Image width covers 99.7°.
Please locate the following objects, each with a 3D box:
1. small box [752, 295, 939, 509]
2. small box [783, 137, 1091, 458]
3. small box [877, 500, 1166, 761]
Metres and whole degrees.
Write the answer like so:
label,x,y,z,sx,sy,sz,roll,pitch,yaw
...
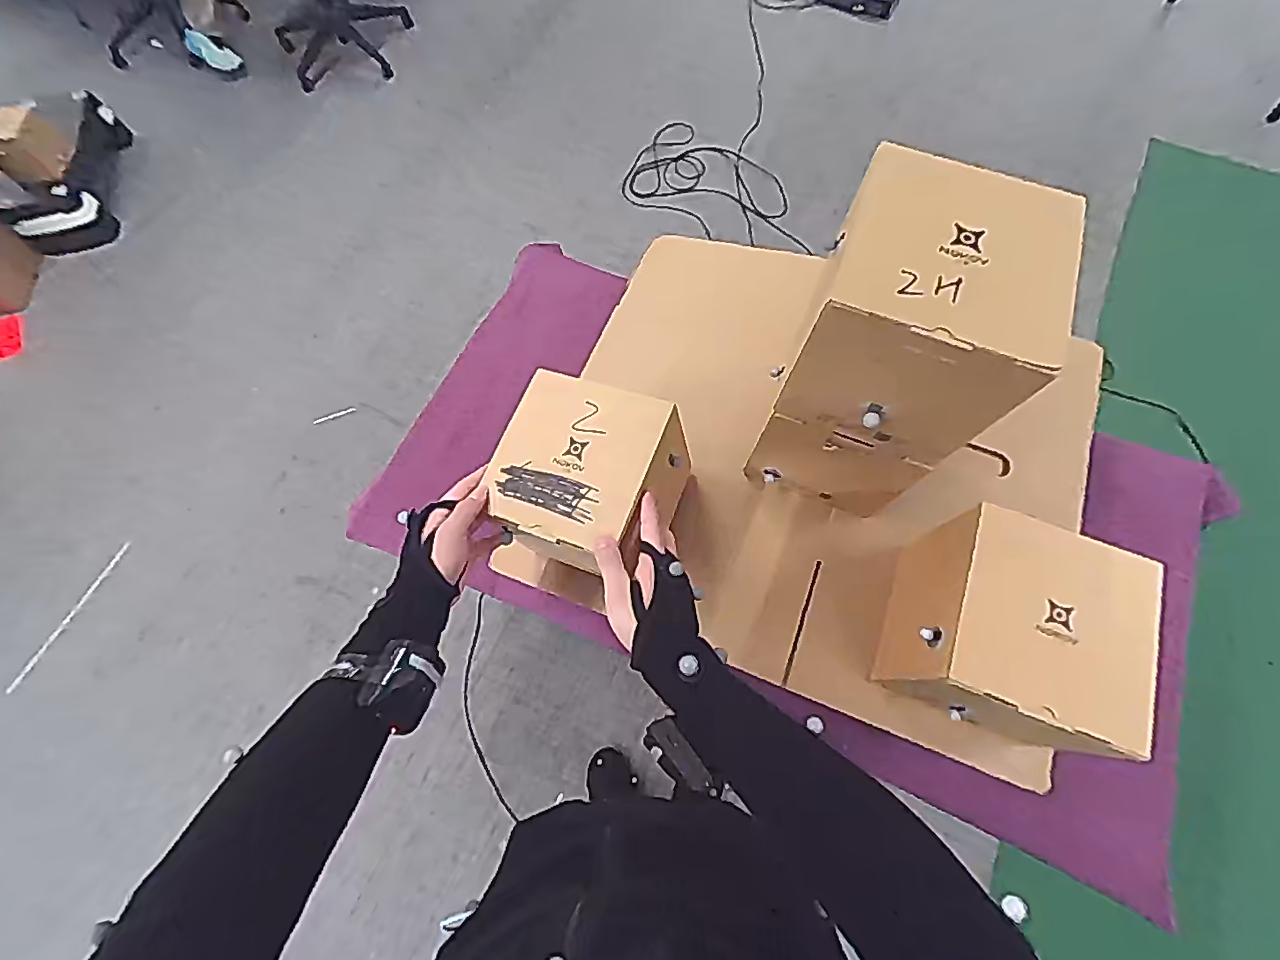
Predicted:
label,x,y,z,sx,sy,sz,roll,pitch,yaw
small box,0.240,-0.087,0.628,0.168,0.176,0.179,21,70,7
small box,0.241,-0.147,0.476,0.168,0.176,0.179,21,71,7
small box,0.364,0.148,0.543,0.168,0.176,0.179,21,72,7
